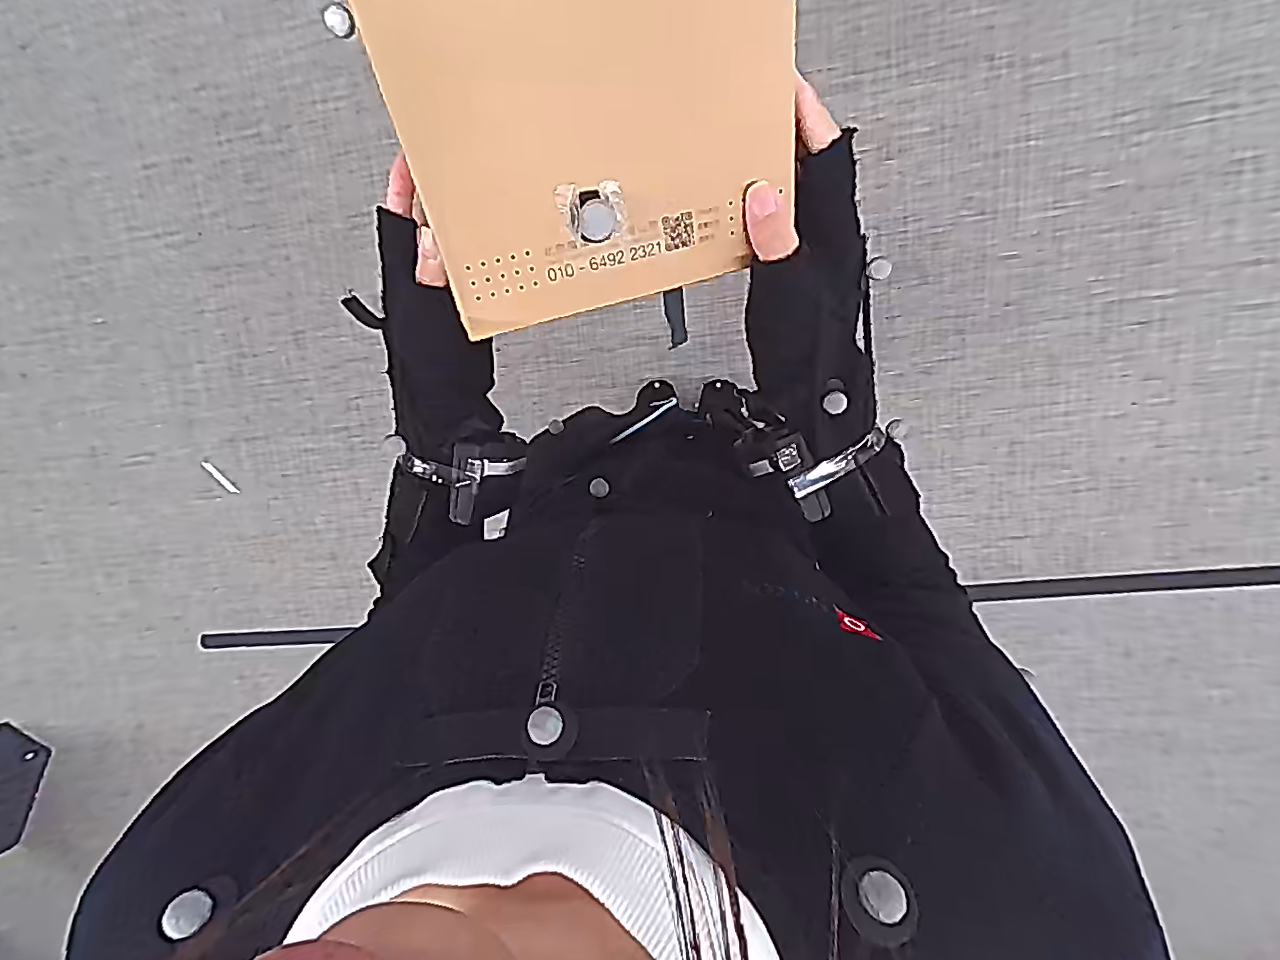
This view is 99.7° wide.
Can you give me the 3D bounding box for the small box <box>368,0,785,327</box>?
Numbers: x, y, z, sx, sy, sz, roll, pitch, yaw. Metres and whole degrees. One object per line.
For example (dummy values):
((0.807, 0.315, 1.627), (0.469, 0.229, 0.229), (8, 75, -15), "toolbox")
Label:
((-0.038, -0.199, 0.292), (0.168, 0.179, 0.176), (-19, 127, -9), "small box")
